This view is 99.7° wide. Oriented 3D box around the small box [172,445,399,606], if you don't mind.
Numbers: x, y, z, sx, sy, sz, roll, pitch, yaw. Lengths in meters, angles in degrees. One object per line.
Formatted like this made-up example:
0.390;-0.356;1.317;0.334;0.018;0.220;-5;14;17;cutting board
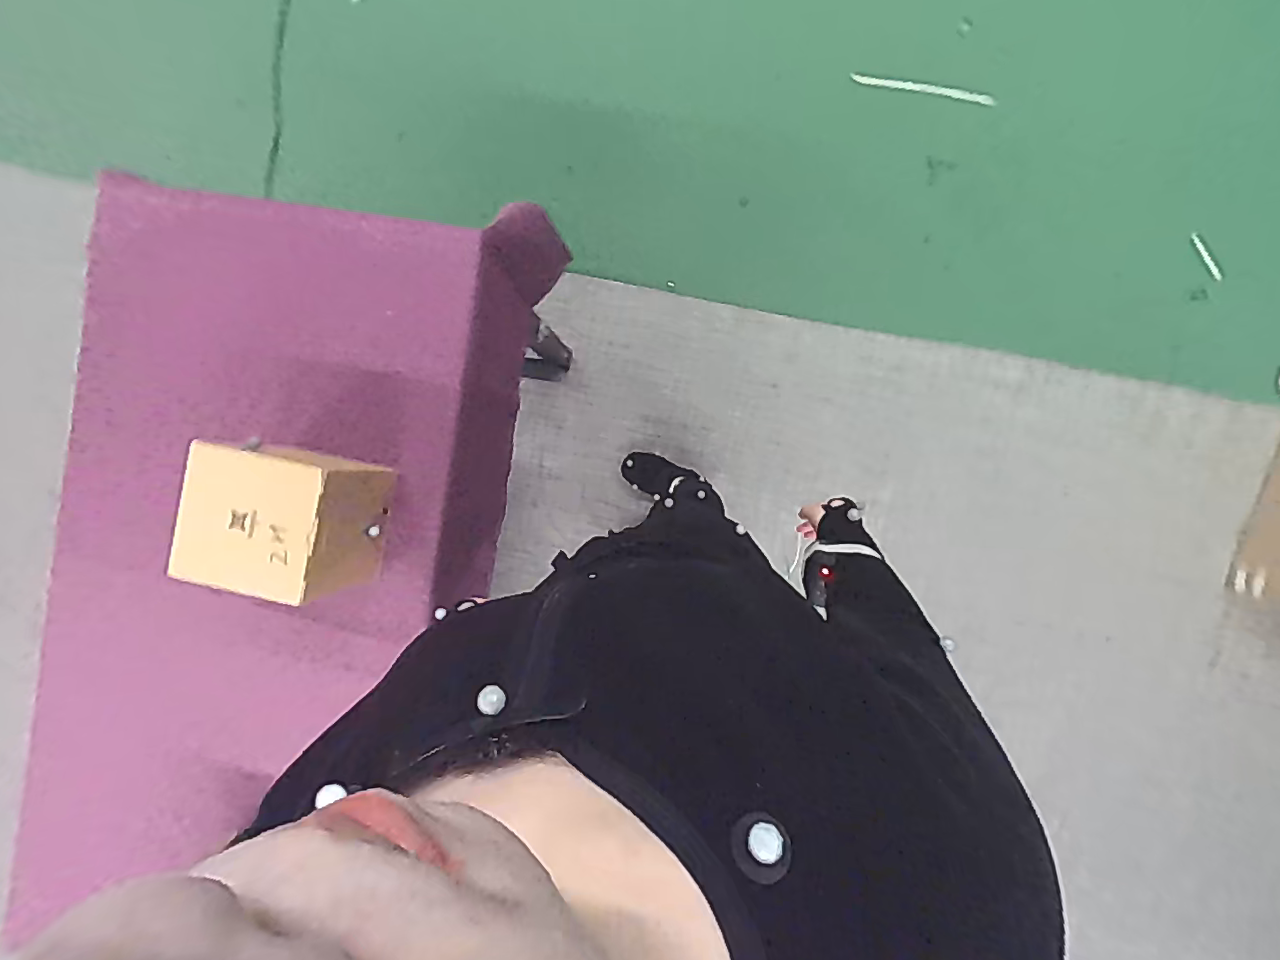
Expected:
-0.458;0.053;0.722;0.179;0.176;0.168;11;92;4;small box
